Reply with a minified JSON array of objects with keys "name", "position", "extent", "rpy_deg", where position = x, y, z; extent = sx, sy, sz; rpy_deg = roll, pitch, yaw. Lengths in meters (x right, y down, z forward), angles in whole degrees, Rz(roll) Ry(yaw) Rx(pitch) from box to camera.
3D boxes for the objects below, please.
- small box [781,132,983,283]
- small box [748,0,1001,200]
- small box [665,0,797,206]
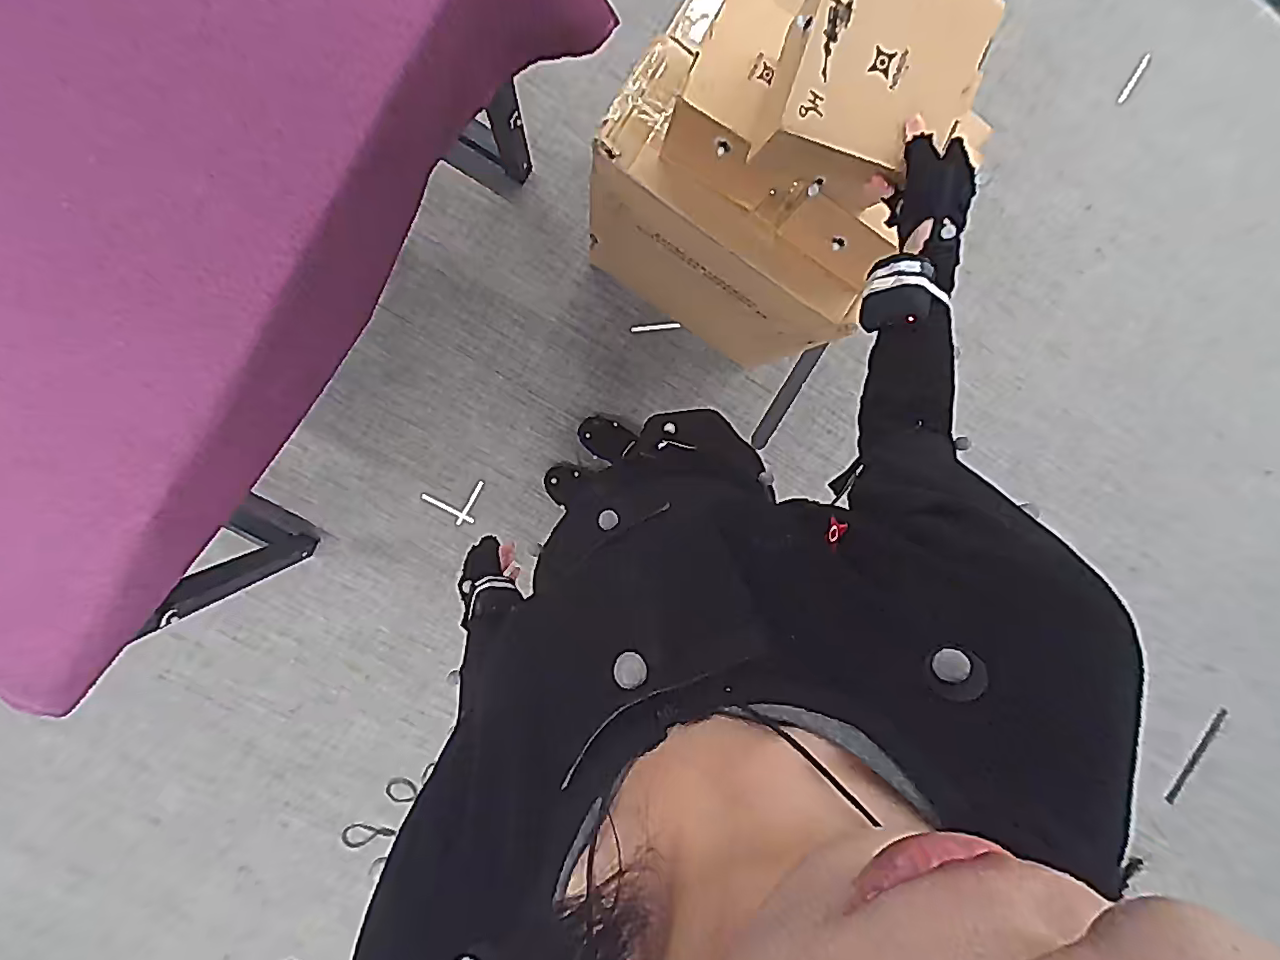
[{"name":"small box","position":[0.341,-0.414,0.798],"extent":[0.179,0.176,0.168],"rpy_deg":[32,93,-5]},{"name":"small box","position":[0.242,-0.434,0.610],"extent":[0.179,0.176,0.168],"rpy_deg":[15,106,-6]},{"name":"small box","position":[0.151,-0.528,0.770],"extent":[0.179,0.176,0.168],"rpy_deg":[27,94,-9]}]
